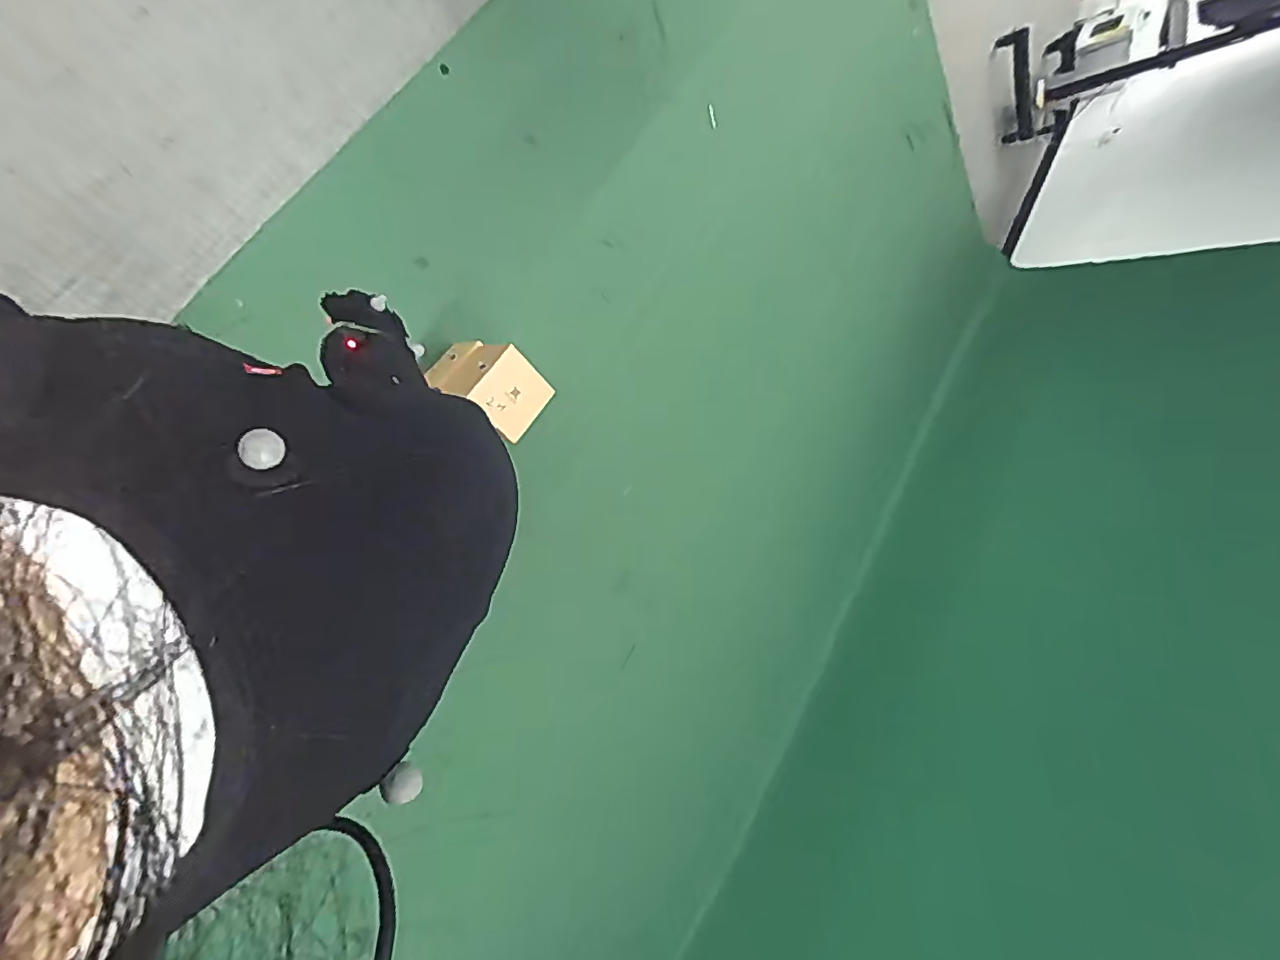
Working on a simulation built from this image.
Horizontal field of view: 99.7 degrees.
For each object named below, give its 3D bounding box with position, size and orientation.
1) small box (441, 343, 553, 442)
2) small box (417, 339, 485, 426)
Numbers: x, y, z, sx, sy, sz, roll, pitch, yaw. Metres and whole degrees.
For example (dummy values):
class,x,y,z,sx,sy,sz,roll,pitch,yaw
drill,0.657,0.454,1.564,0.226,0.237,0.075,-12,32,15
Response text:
class,x,y,z,sx,sy,sz,roll,pitch,yaw
small box,-0.355,-0.217,1.333,0.168,0.176,0.179,48,67,-36
small box,-0.463,-0.255,1.452,0.168,0.176,0.179,-55,128,-19
